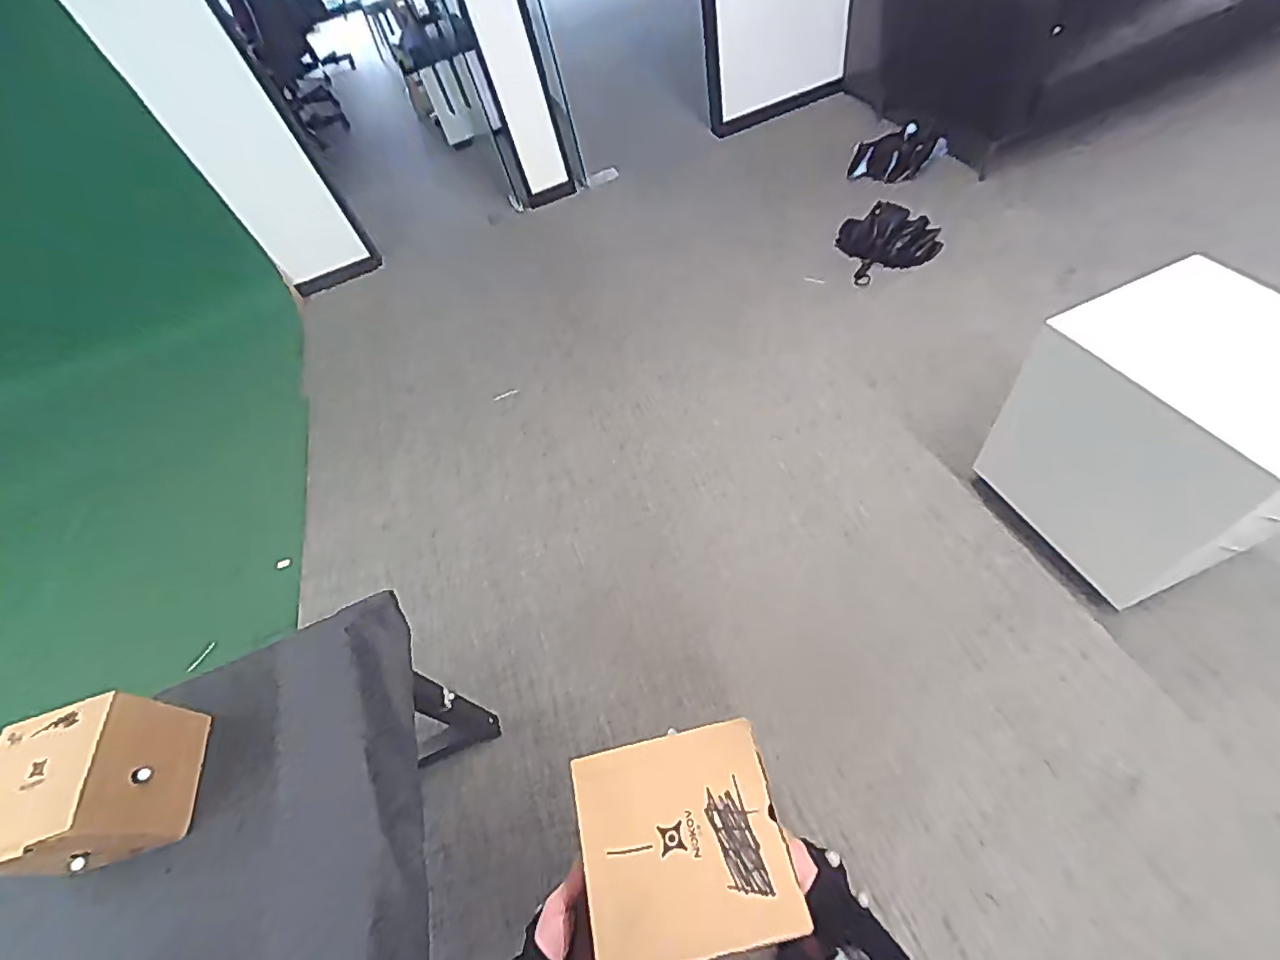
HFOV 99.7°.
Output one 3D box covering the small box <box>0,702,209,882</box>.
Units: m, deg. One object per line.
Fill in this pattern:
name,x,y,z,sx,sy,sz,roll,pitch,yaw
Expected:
small box,-0.760,0.441,0.762,0.168,0.176,0.179,-18,53,-1
